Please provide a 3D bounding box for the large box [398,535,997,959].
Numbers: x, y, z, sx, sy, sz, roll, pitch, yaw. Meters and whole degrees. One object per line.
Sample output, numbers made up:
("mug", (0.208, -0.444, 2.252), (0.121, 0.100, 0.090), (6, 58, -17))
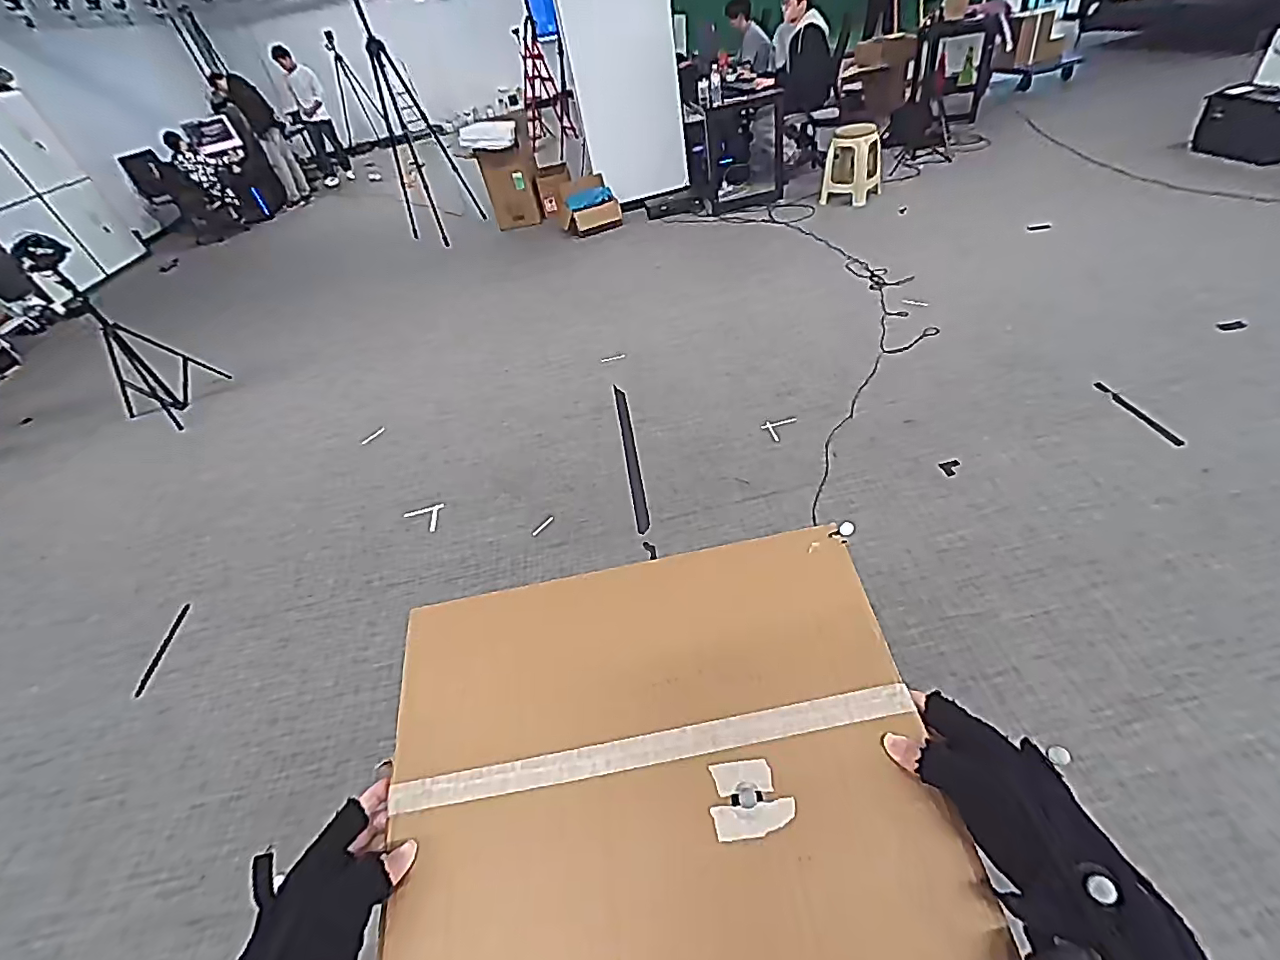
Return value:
("large box", (0.030, 0.300, 0.549), (0.408, 0.320, 0.320), (-12, 55, 1))
